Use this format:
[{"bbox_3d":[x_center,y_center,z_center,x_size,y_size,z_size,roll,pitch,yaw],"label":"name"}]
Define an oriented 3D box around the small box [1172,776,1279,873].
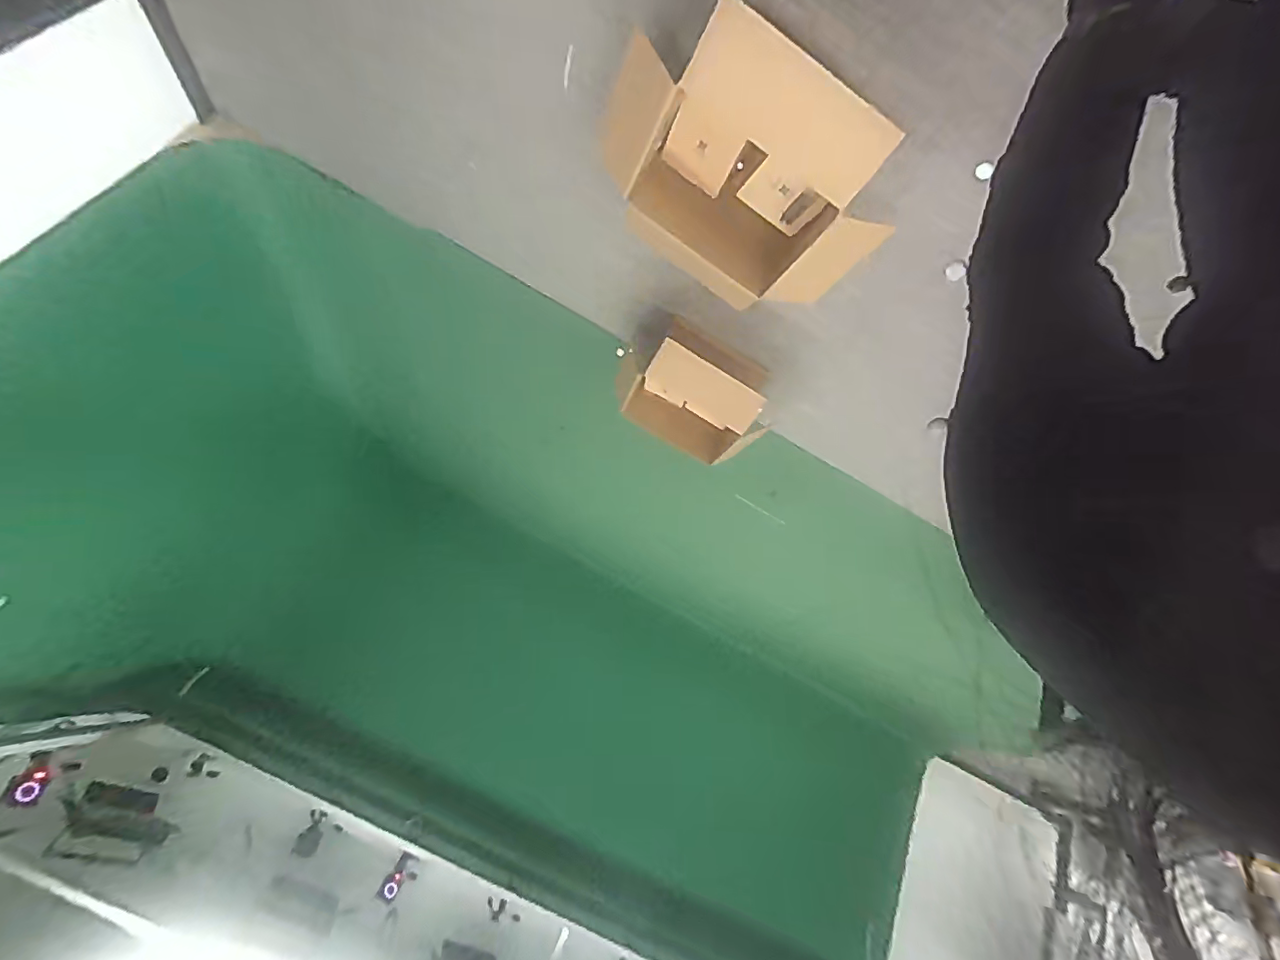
[{"bbox_3d":[1.688,0.981,1.548,0.179,0.176,0.168,29,155,-3],"label":"small box"}]
